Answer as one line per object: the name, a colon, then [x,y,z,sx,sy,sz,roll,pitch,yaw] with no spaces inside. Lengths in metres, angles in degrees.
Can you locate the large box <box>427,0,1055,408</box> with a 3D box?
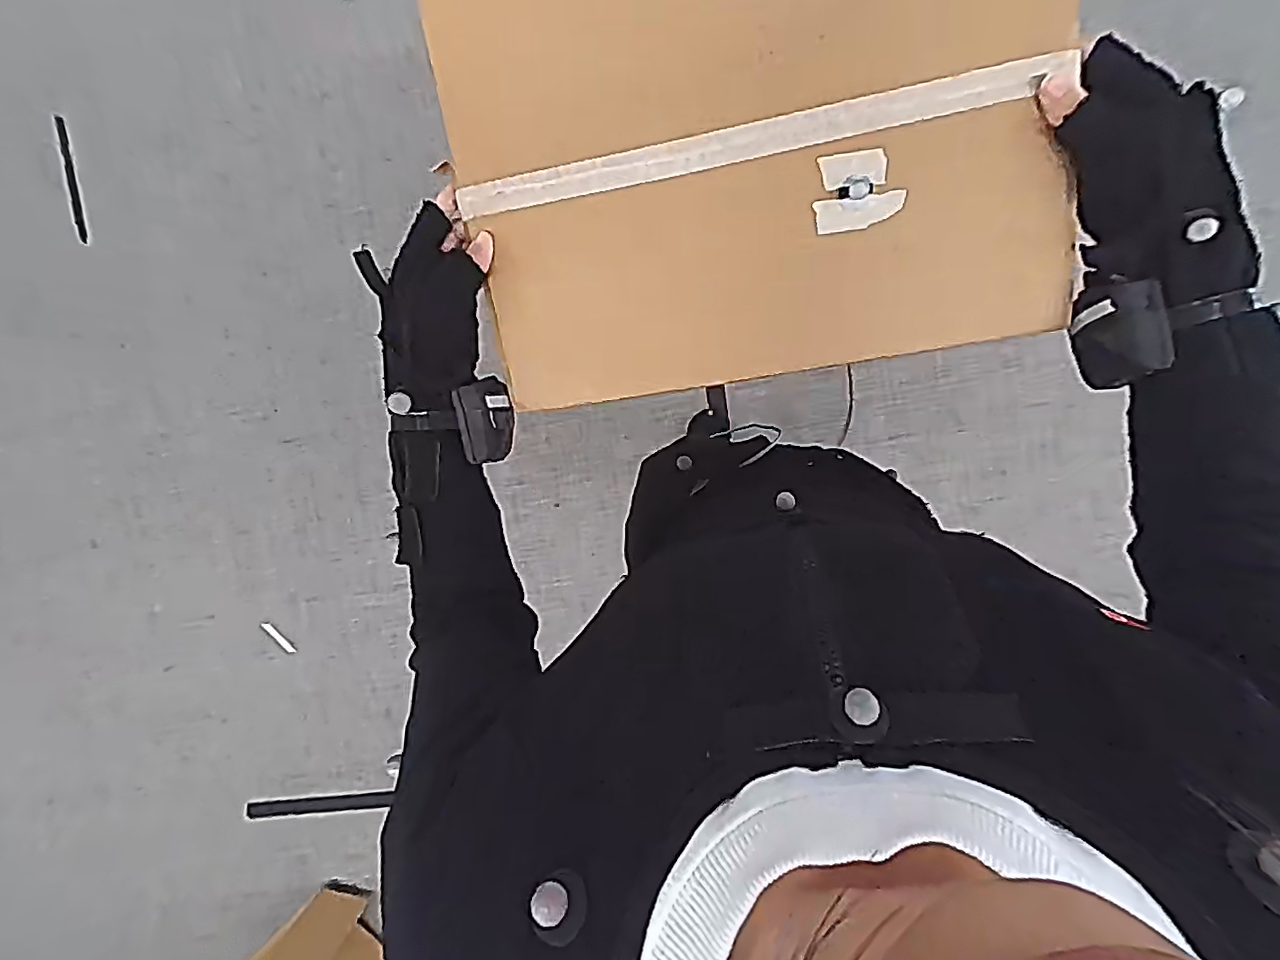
large box: [0.084,-0.273,0.518,0.408,0.320,0.320,-9,106,7]
